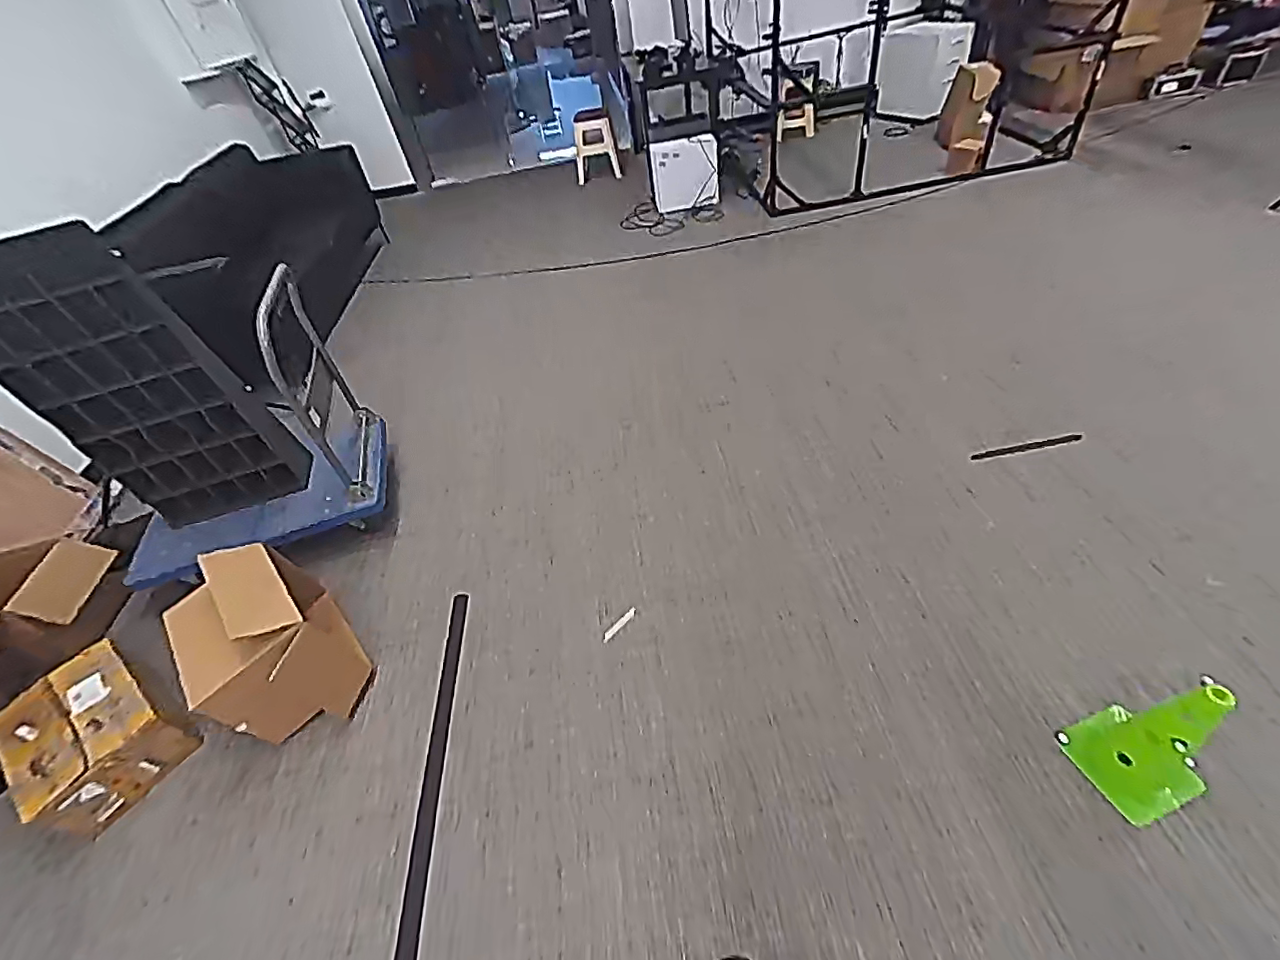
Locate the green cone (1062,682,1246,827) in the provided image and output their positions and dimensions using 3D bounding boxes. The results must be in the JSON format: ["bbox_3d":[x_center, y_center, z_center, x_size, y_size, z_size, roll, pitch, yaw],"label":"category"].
[{"bbox_3d":[1.060,0.504,1.070,0.202,0.368,0.200,-20,45,-10],"label":"green cone"}]
